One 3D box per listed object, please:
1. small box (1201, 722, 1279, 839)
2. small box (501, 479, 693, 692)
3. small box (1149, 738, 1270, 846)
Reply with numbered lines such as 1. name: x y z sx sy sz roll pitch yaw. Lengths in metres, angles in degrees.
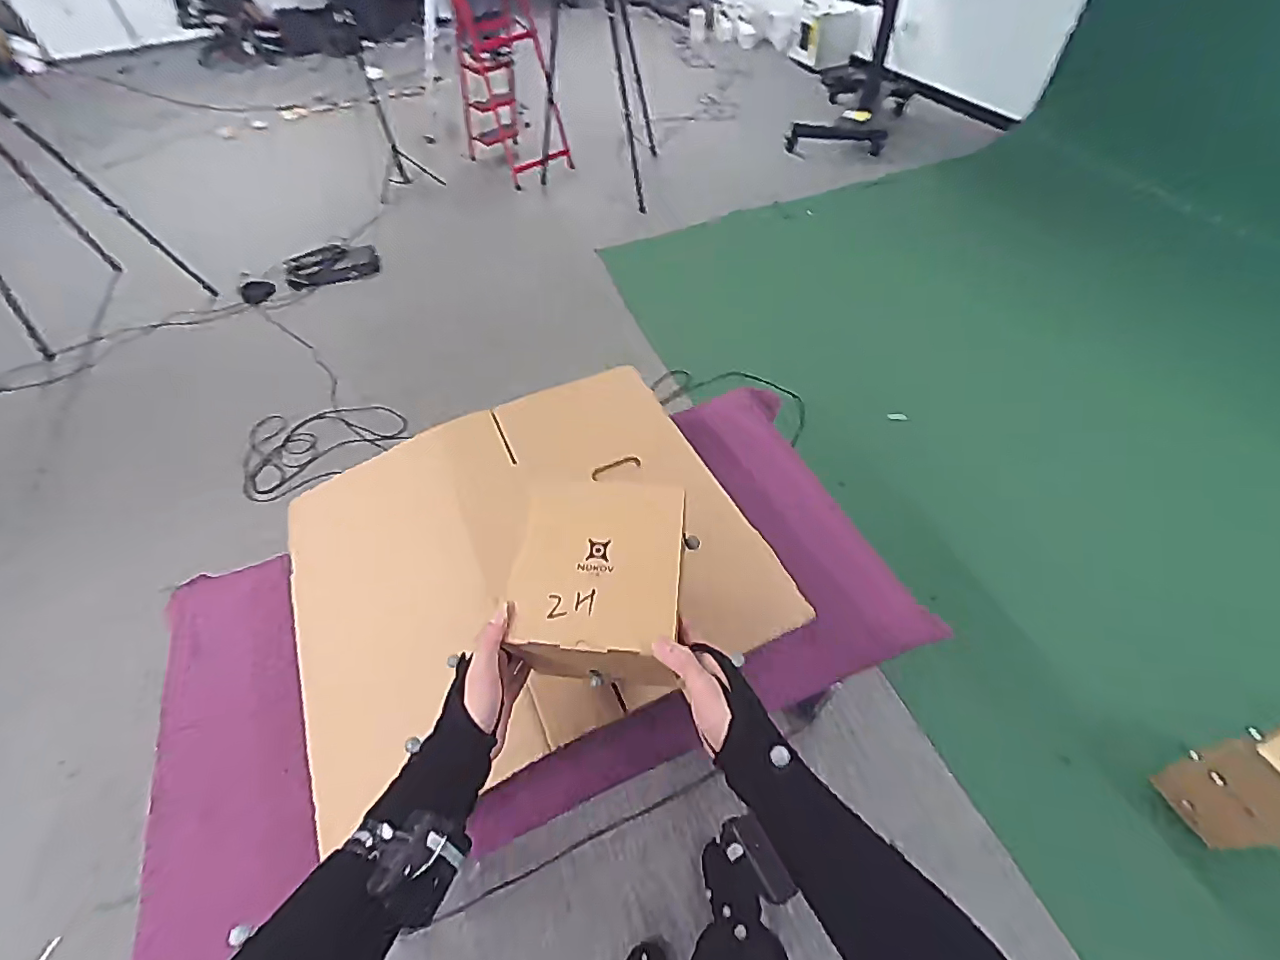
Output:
1. small box: 1.367 0.631 1.143 0.179 0.176 0.168 -19 53 -12
2. small box: -0.032 0.120 0.592 0.168 0.176 0.179 4 61 6
3. small box: 1.376 0.732 1.271 0.179 0.176 0.168 -20 53 -11
